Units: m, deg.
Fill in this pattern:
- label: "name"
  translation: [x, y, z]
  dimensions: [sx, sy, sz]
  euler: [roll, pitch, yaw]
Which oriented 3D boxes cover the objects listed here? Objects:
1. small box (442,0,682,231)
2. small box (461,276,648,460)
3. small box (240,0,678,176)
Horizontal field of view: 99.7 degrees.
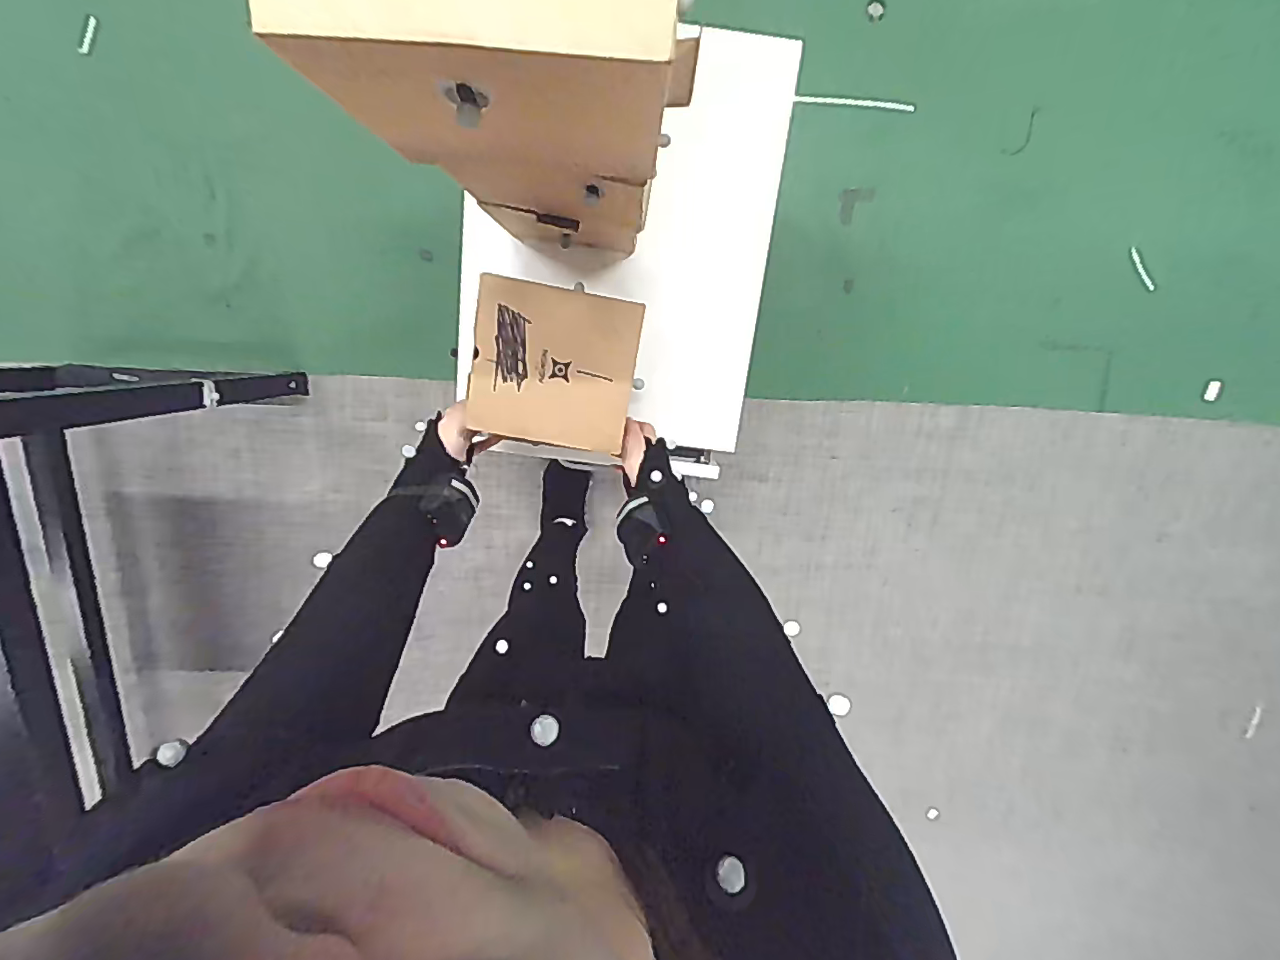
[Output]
- label: "small box"
  translation: [-0.068, -0.316, 0.435]
  dimensions: [0.179, 0.176, 0.168]
  euler: [9, 103, -4]
- label: "small box"
  translation: [-0.094, -0.131, 0.645]
  dimensions: [0.179, 0.176, 0.168]
  euler: [10, 102, -5]
- label: "small box"
  translation: [-0.069, -0.272, 0.277]
  dimensions: [0.179, 0.176, 0.168]
  euler: [2, 105, -3]
